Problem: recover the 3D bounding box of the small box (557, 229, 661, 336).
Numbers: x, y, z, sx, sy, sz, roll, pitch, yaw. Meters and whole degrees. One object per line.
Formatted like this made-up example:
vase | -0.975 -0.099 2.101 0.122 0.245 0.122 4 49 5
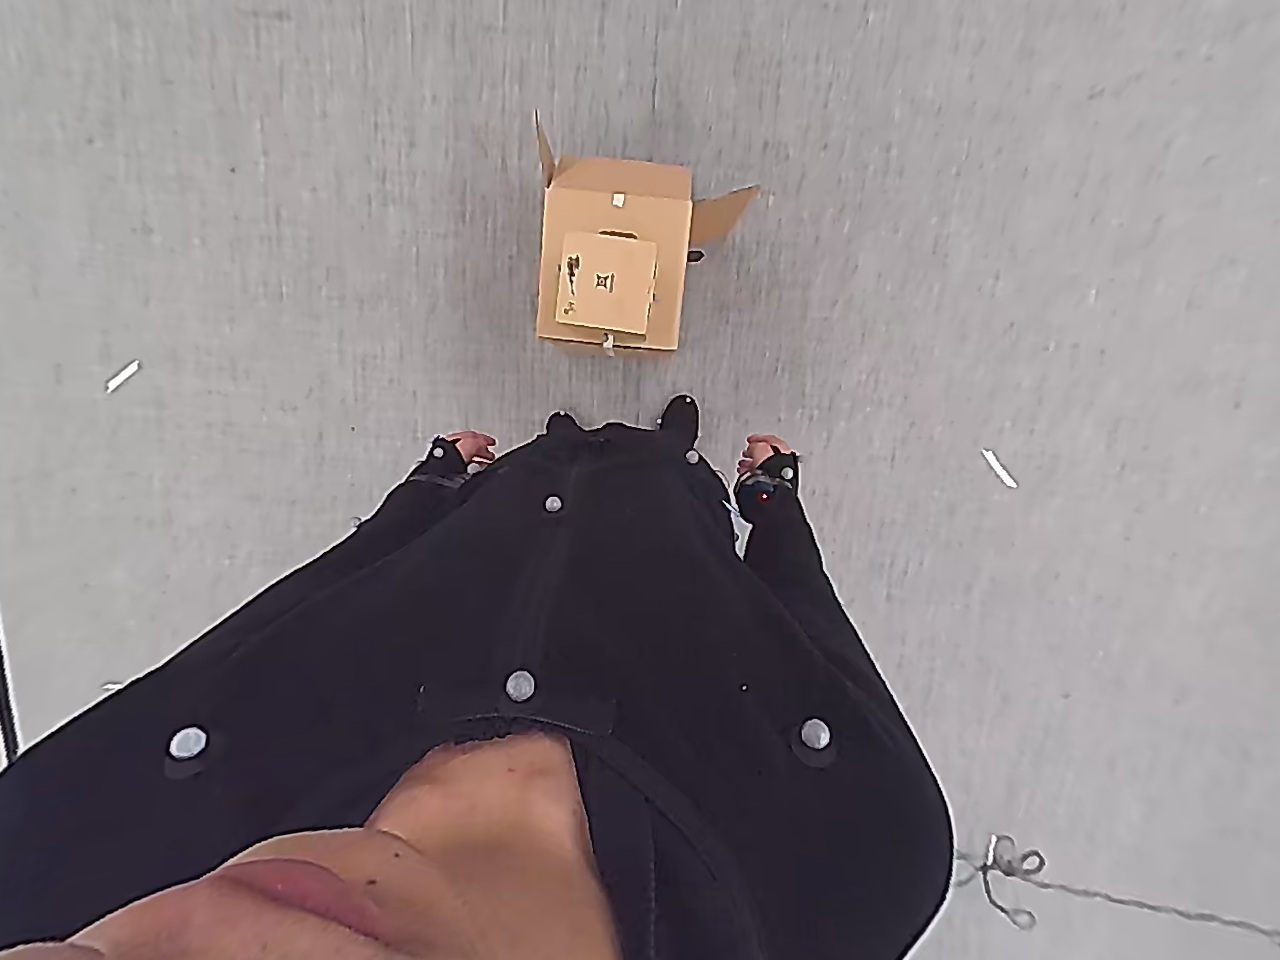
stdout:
small box | -0.059 -0.386 1.087 0.179 0.176 0.168 9 102 -1
